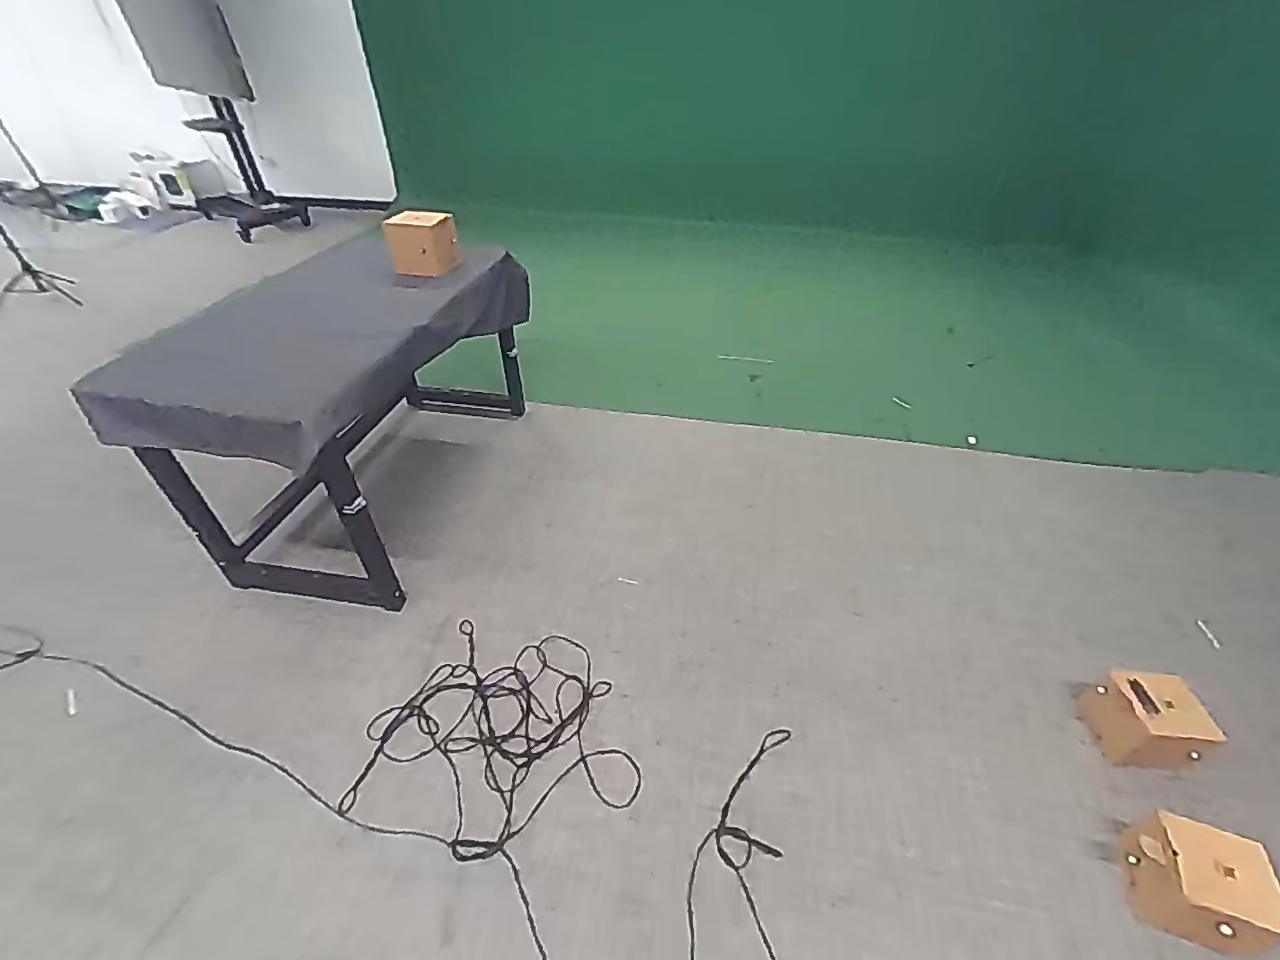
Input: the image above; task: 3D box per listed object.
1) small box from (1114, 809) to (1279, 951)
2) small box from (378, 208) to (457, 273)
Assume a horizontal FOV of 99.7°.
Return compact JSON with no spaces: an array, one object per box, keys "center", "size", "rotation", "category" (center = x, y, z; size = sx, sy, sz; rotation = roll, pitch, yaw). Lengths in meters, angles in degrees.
[{"center":[1.121,0.809,1.090],"size":[0.179,0.176,0.168],"rotation":[14,42,15],"category":"small box"},{"center":[-0.755,-0.822,1.859],"size":[0.179,0.176,0.168],"rotation":[7,39,9],"category":"small box"}]
